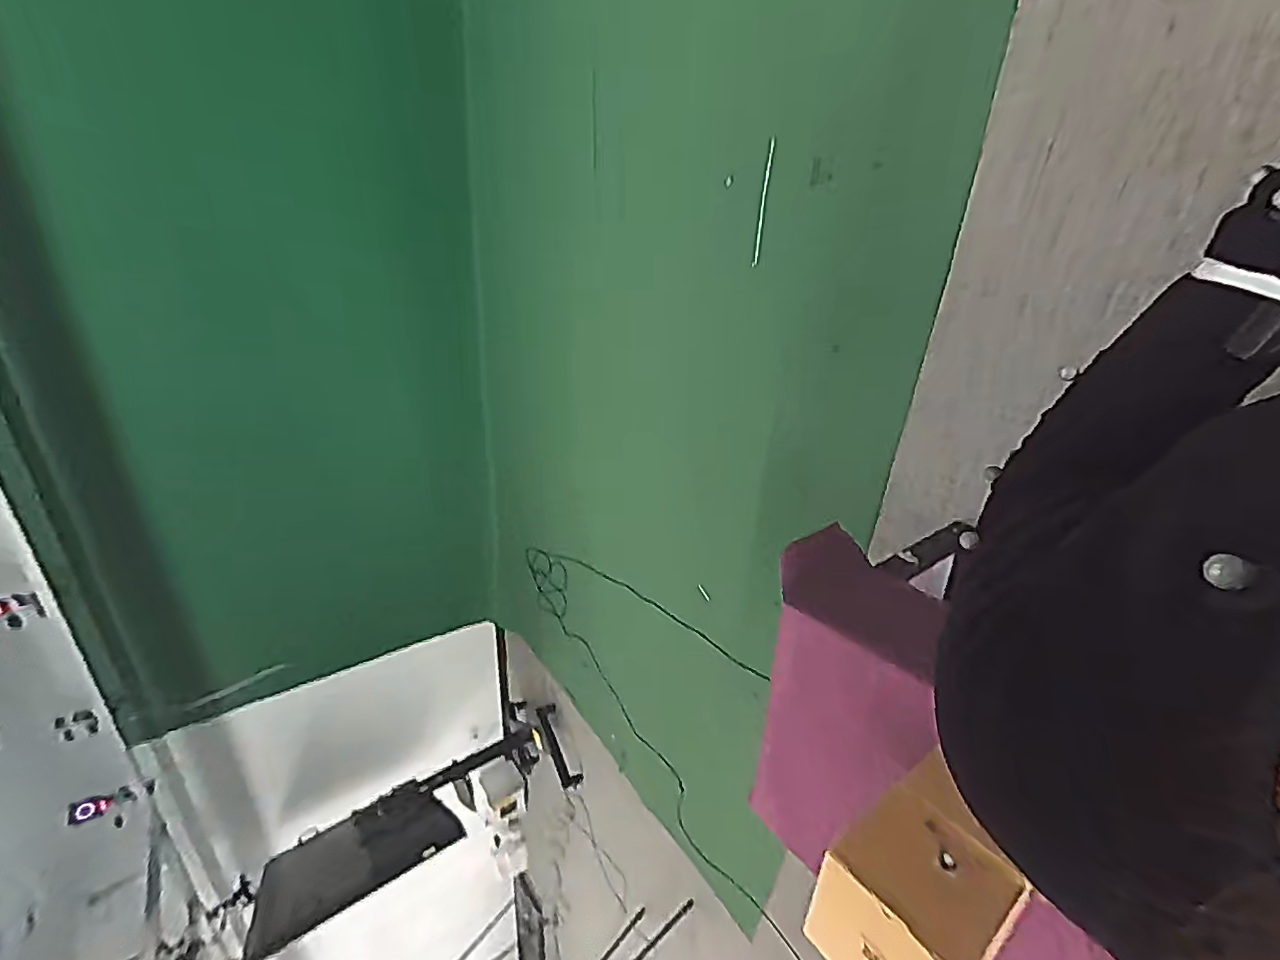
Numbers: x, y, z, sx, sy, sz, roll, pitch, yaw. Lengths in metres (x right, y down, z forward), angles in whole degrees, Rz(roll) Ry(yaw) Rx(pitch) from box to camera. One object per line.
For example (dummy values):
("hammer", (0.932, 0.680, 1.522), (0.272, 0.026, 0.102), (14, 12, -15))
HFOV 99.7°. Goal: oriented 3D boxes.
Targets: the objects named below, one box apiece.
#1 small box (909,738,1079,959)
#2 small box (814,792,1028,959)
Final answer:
("small box", (0.486, 0.513, 0.772), (0.168, 0.176, 0.179), (29, 125, 47))
("small box", (0.352, 0.552, 0.686), (0.168, 0.176, 0.179), (29, 123, 46))
